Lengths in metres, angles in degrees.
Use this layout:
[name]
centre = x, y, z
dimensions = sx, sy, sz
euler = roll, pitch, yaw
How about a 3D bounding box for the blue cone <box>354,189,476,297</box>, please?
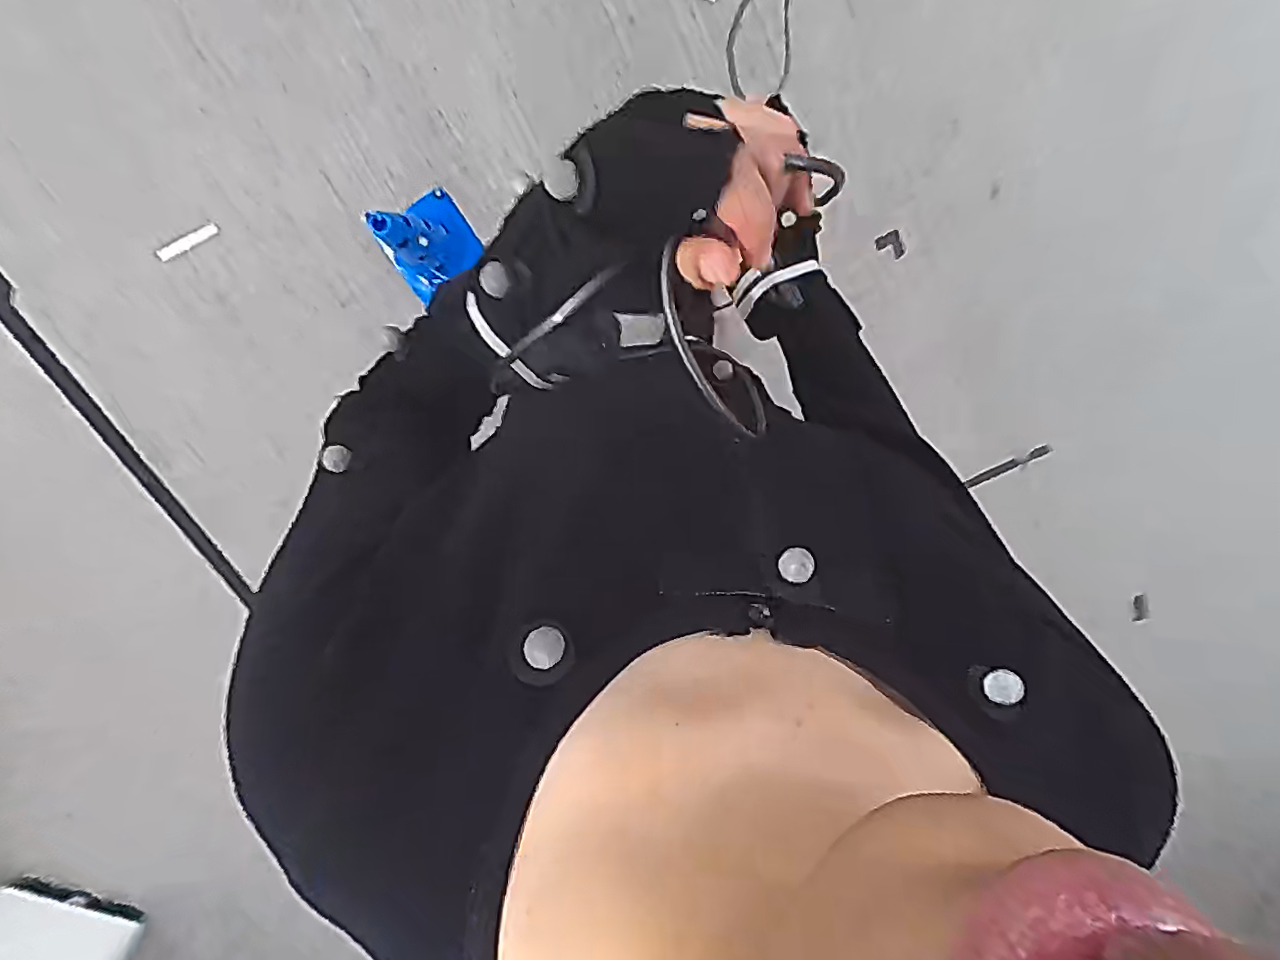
[blue cone]
centre = -0.487, -0.503, 1.110
dimensions = 0.193, 0.380, 0.192
euler = -31, 106, 4
